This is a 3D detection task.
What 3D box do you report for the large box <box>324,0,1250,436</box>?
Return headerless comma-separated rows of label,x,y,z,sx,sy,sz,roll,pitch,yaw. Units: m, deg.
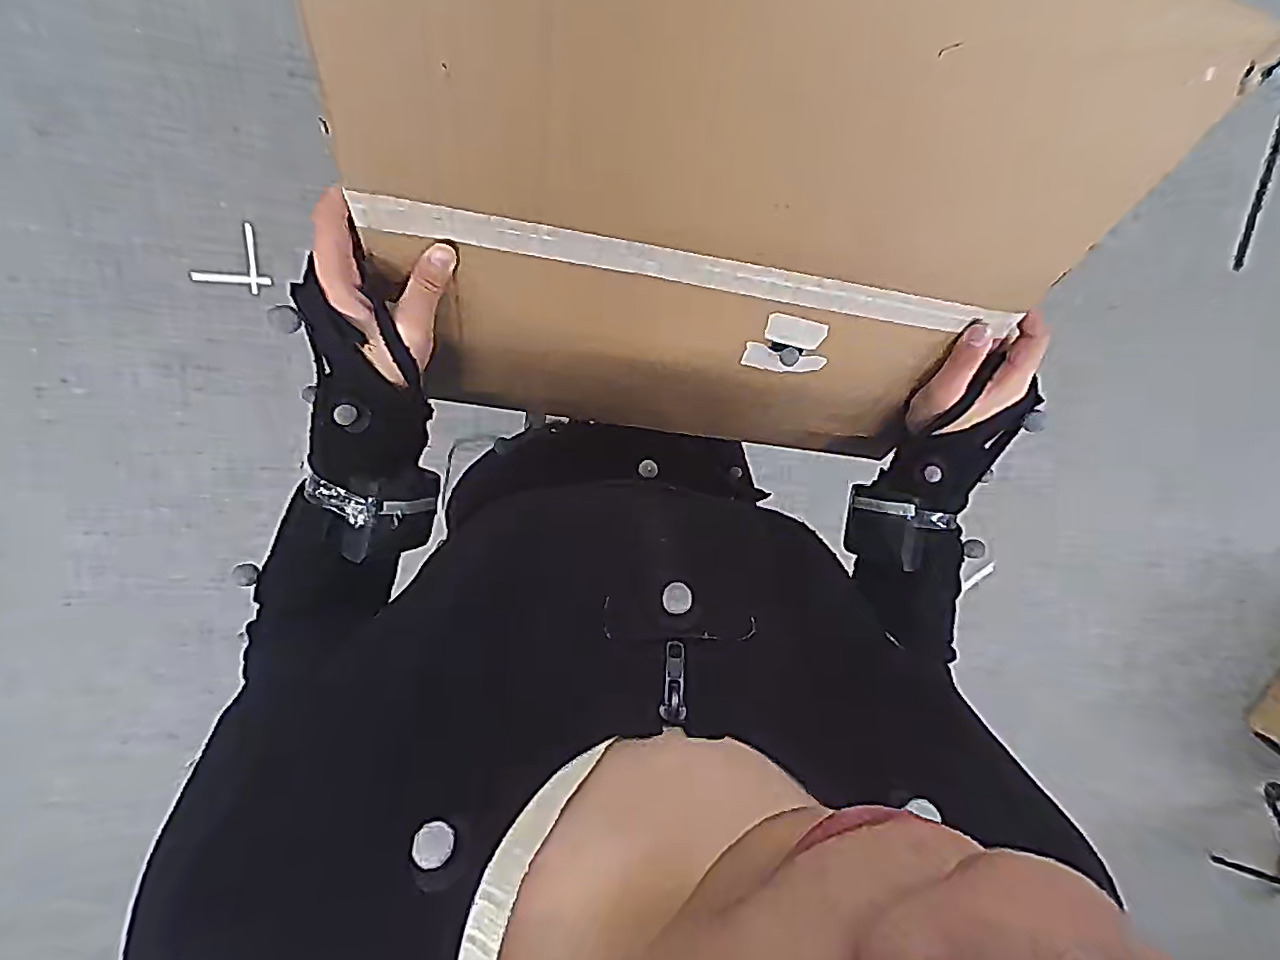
large box,0.044,-0.262,0.409,0.408,0.320,0.320,5,148,-9
